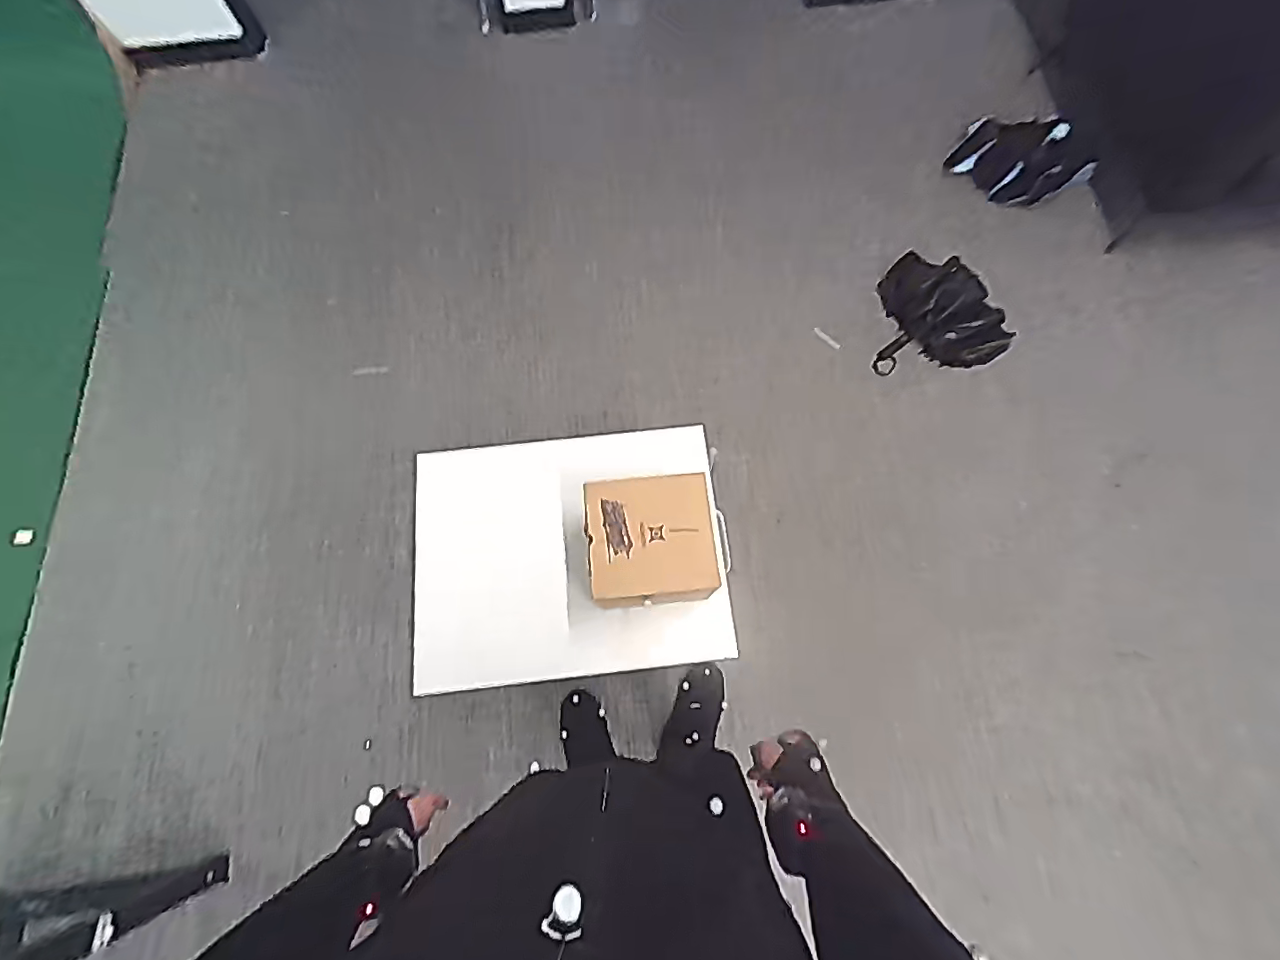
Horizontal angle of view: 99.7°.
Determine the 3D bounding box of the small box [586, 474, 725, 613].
[{"bbox_3d":[0.016,0.100,0.799,0.179,0.176,0.168,-4,71,-4],"label":"small box"}]
